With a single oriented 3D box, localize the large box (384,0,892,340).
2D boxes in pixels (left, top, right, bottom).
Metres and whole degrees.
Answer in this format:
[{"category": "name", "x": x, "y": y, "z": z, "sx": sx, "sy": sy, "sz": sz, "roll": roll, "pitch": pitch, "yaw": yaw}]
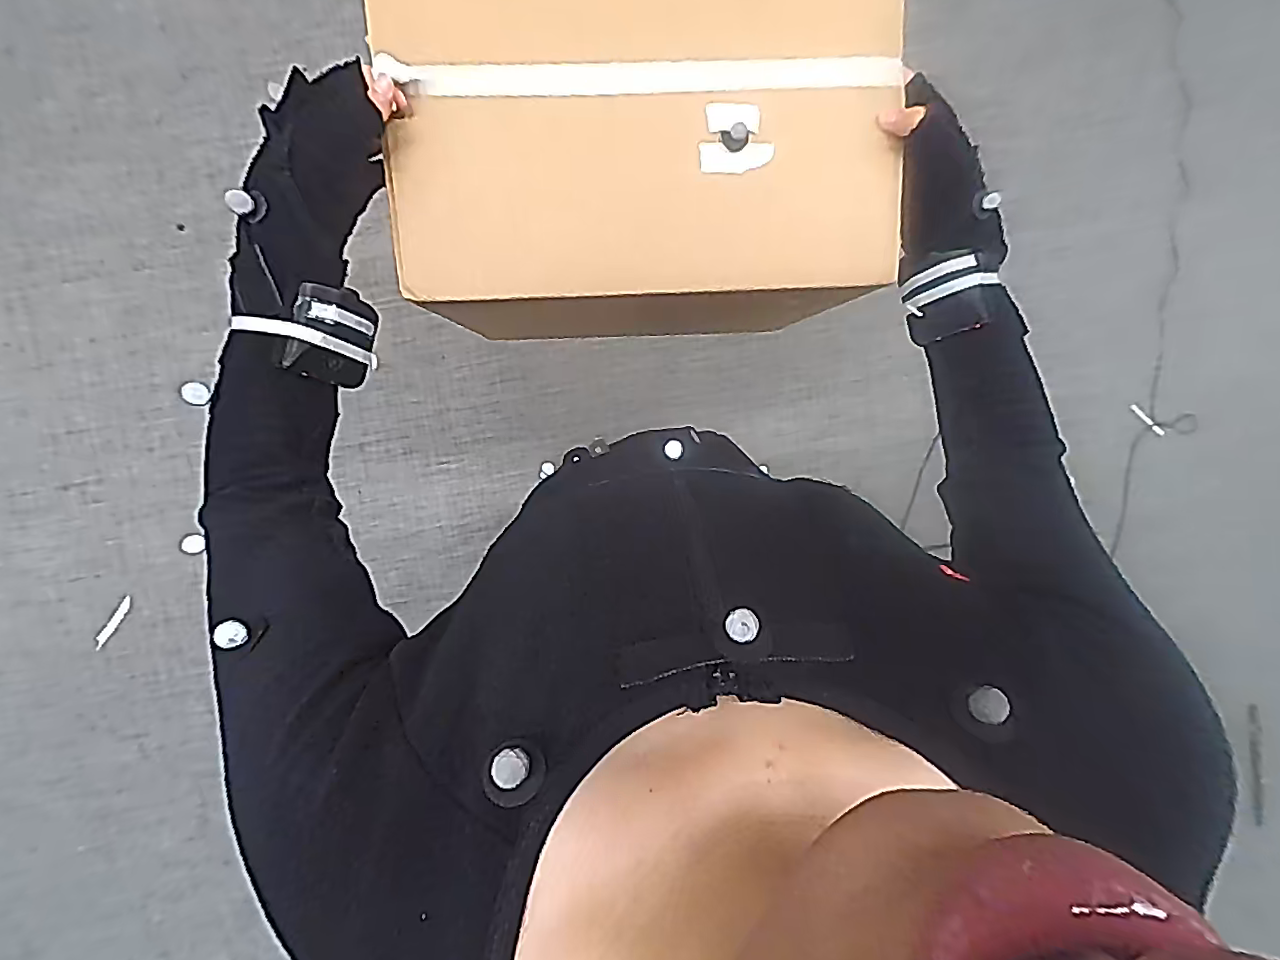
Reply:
[{"category": "large box", "x": -0.006, "y": -0.334, "z": 0.577, "sx": 0.408, "sy": 0.320, "sz": 0.320, "roll": -3, "pitch": 99, "yaw": -4}]
